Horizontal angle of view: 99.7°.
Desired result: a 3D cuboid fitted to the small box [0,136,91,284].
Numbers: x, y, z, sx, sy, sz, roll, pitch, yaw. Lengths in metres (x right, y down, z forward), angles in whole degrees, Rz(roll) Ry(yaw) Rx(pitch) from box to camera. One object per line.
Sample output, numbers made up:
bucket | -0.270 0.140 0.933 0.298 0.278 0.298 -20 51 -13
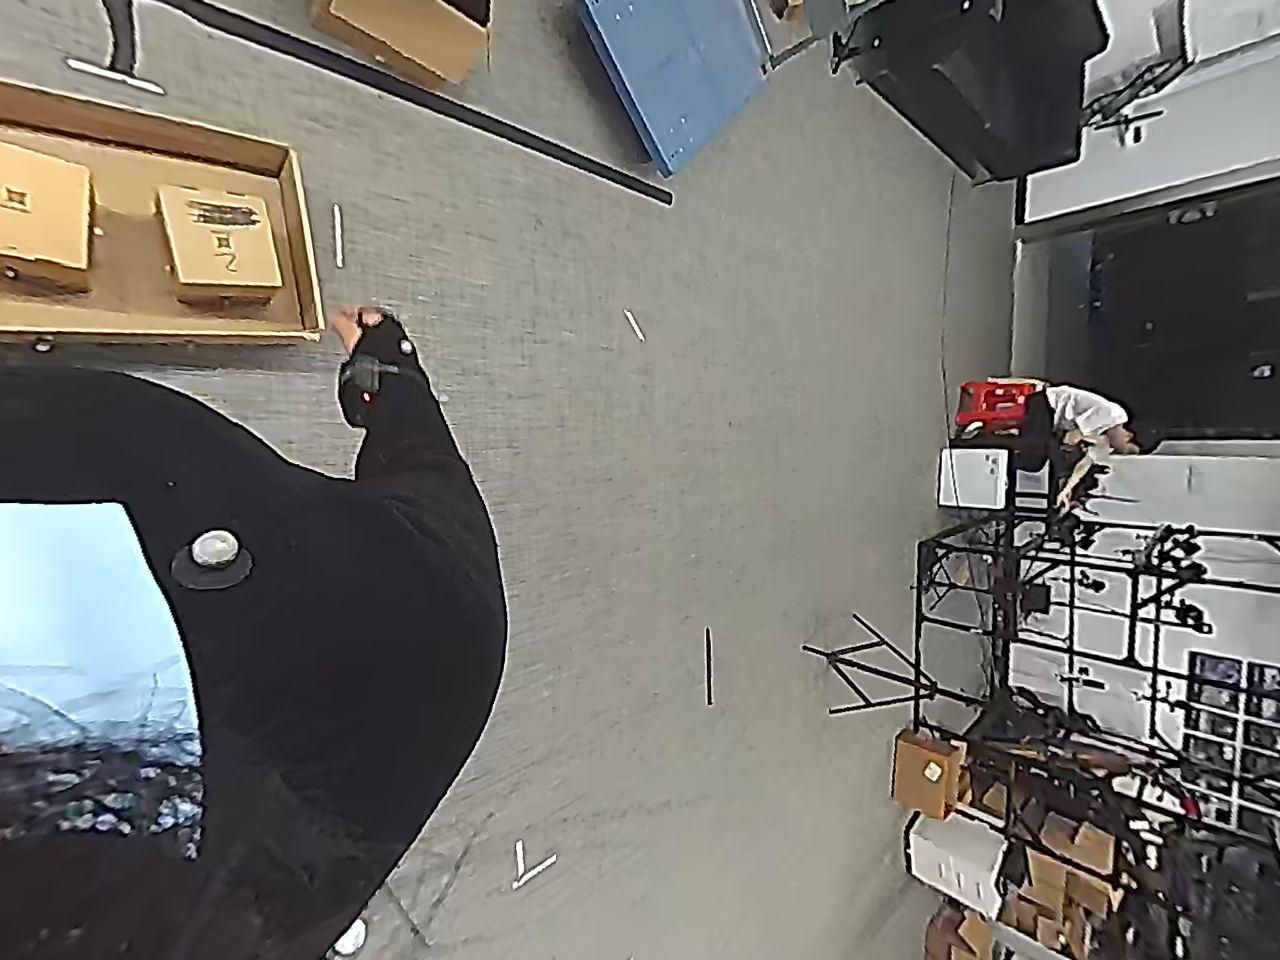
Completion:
small box | -1.051 -0.455 0.915 0.168 0.176 0.179 2 91 -44
